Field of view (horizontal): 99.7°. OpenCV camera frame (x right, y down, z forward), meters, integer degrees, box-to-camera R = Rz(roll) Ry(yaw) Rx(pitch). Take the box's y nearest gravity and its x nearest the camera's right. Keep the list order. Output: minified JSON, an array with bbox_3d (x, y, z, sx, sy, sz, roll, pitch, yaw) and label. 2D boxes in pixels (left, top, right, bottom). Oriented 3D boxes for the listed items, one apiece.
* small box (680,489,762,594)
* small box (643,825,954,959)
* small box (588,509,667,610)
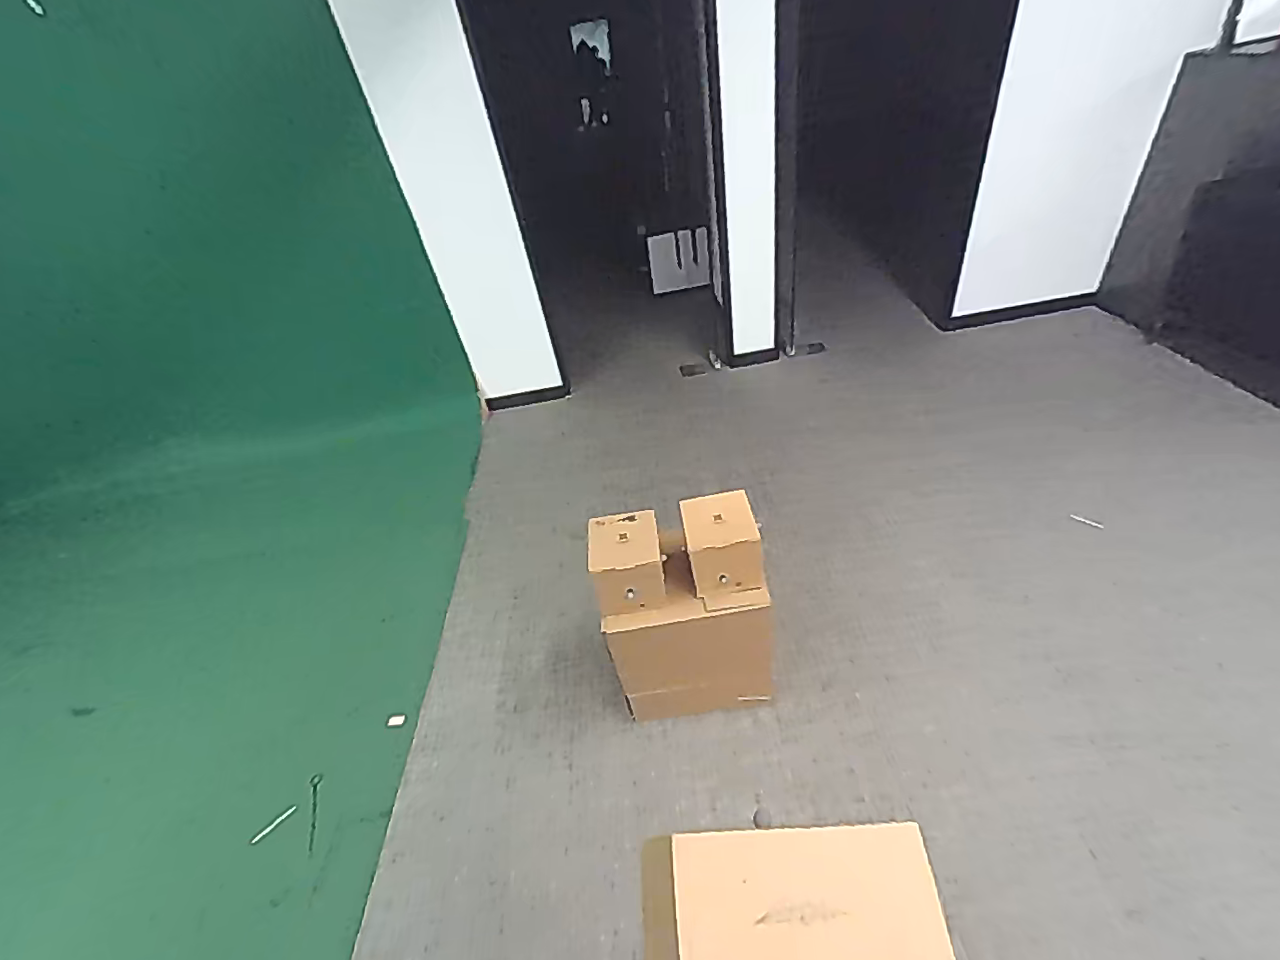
[{"bbox_3d":[0.196,0.150,1.319,0.168,0.176,0.179,-11,39,3],"label":"small box"},{"bbox_3d":[0.093,0.337,0.361,0.168,0.176,0.179,2,55,-6],"label":"small box"},{"bbox_3d":[-0.030,0.199,1.316,0.168,0.176,0.179,-9,41,2],"label":"small box"}]
